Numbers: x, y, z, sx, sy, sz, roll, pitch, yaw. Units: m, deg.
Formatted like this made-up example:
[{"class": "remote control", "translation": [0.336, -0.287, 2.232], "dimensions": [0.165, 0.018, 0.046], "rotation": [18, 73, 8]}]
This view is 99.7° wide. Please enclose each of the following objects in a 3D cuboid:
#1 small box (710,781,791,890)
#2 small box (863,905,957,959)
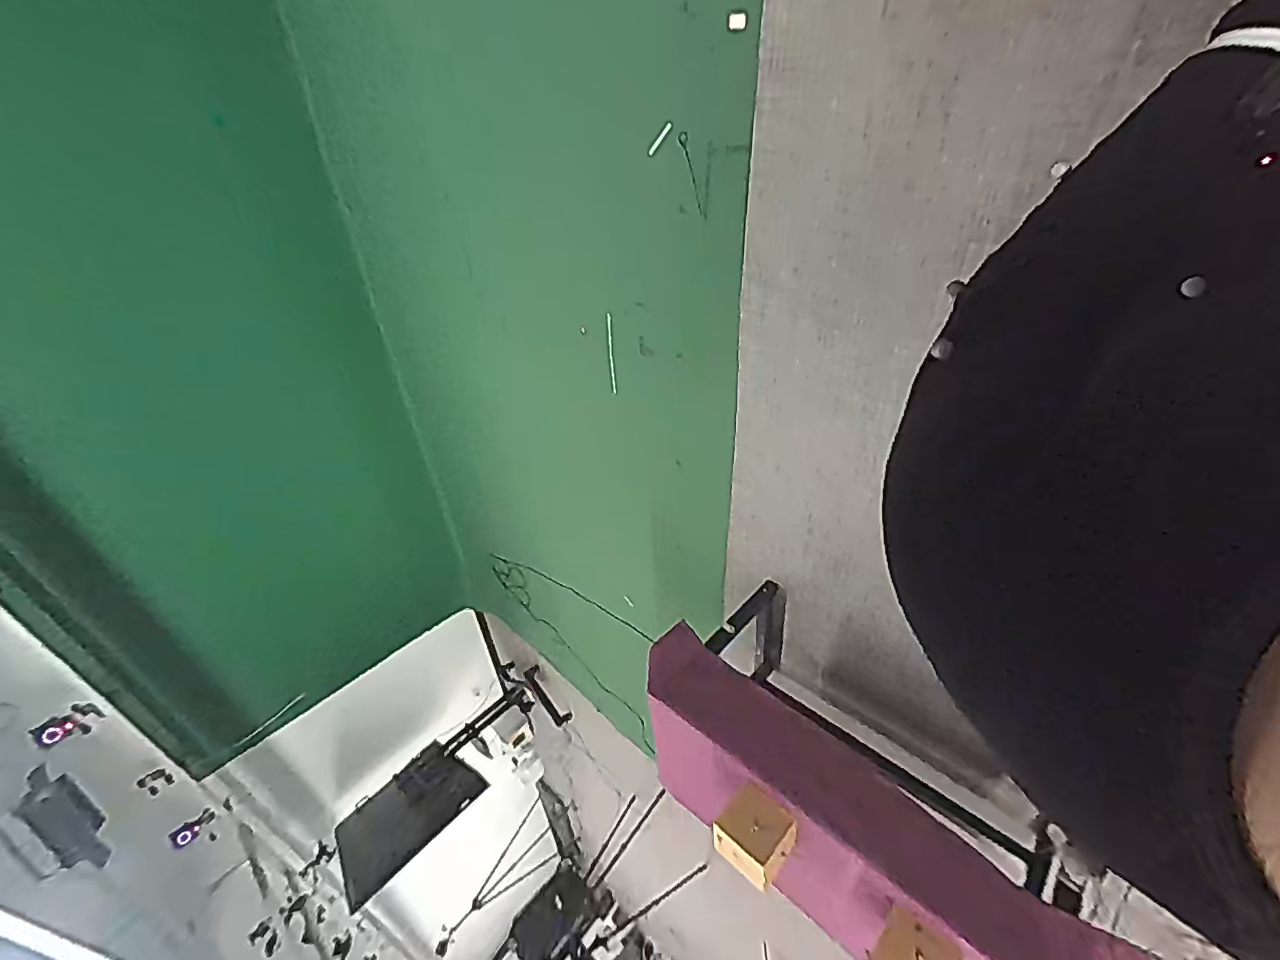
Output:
[{"class": "small box", "translation": [0.326, 1.035, 1.585], "dimensions": [0.179, 0.176, 0.168], "rotation": [24, 133, 38]}, {"class": "small box", "translation": [0.646, 1.193, 1.316], "dimensions": [0.168, 0.176, 0.179], "rotation": [26, 135, 38]}]
